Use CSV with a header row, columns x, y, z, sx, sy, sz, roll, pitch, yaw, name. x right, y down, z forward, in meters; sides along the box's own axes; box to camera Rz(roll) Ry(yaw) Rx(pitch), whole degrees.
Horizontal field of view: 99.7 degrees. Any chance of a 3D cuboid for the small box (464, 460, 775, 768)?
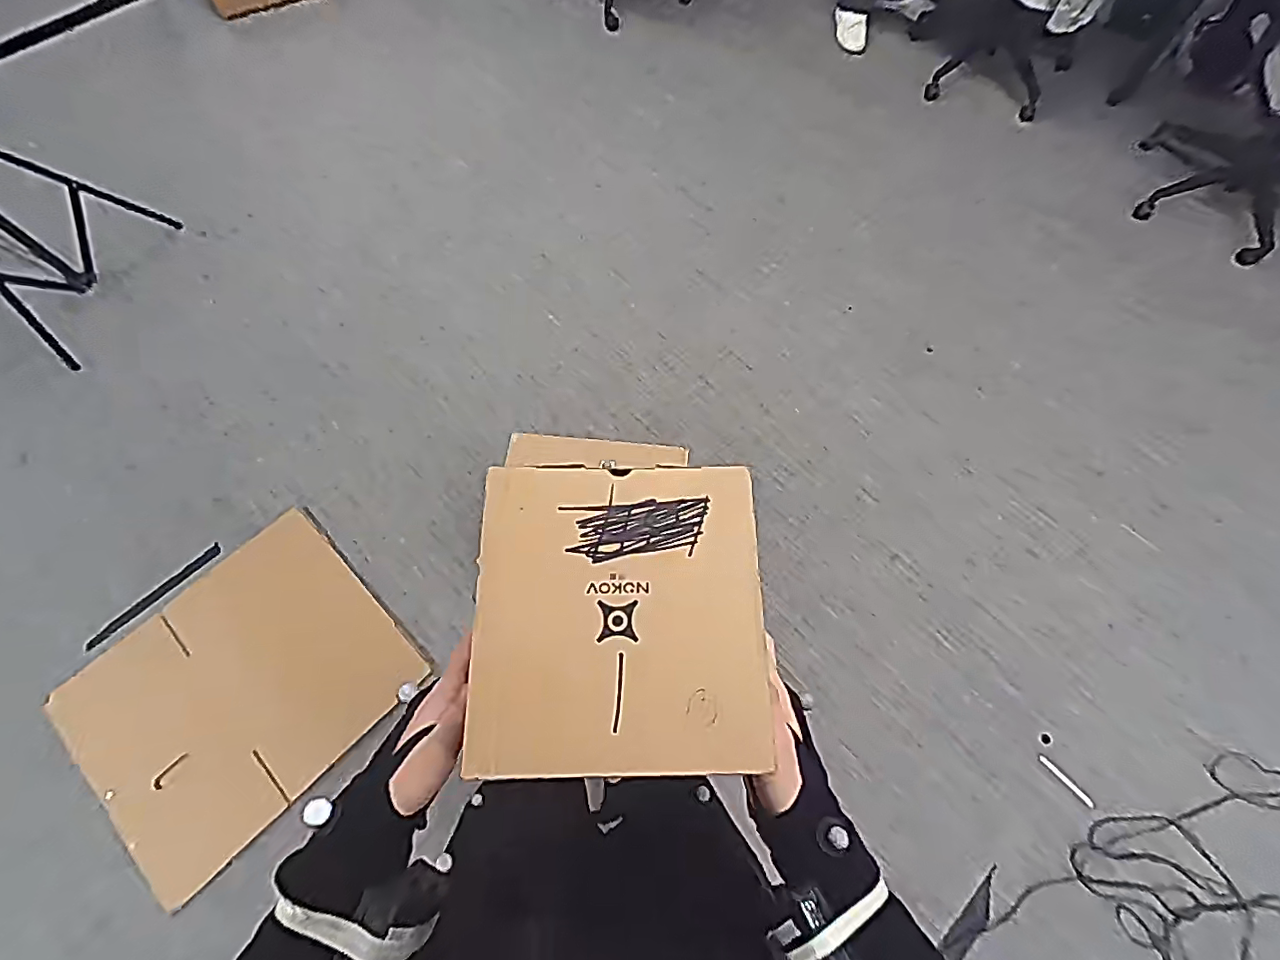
x,y,z,sx,sy,sz,roll,pitch,yaw,name
-0.013,0.098,0.386,0.168,0.176,0.179,-1,69,-1,small box
